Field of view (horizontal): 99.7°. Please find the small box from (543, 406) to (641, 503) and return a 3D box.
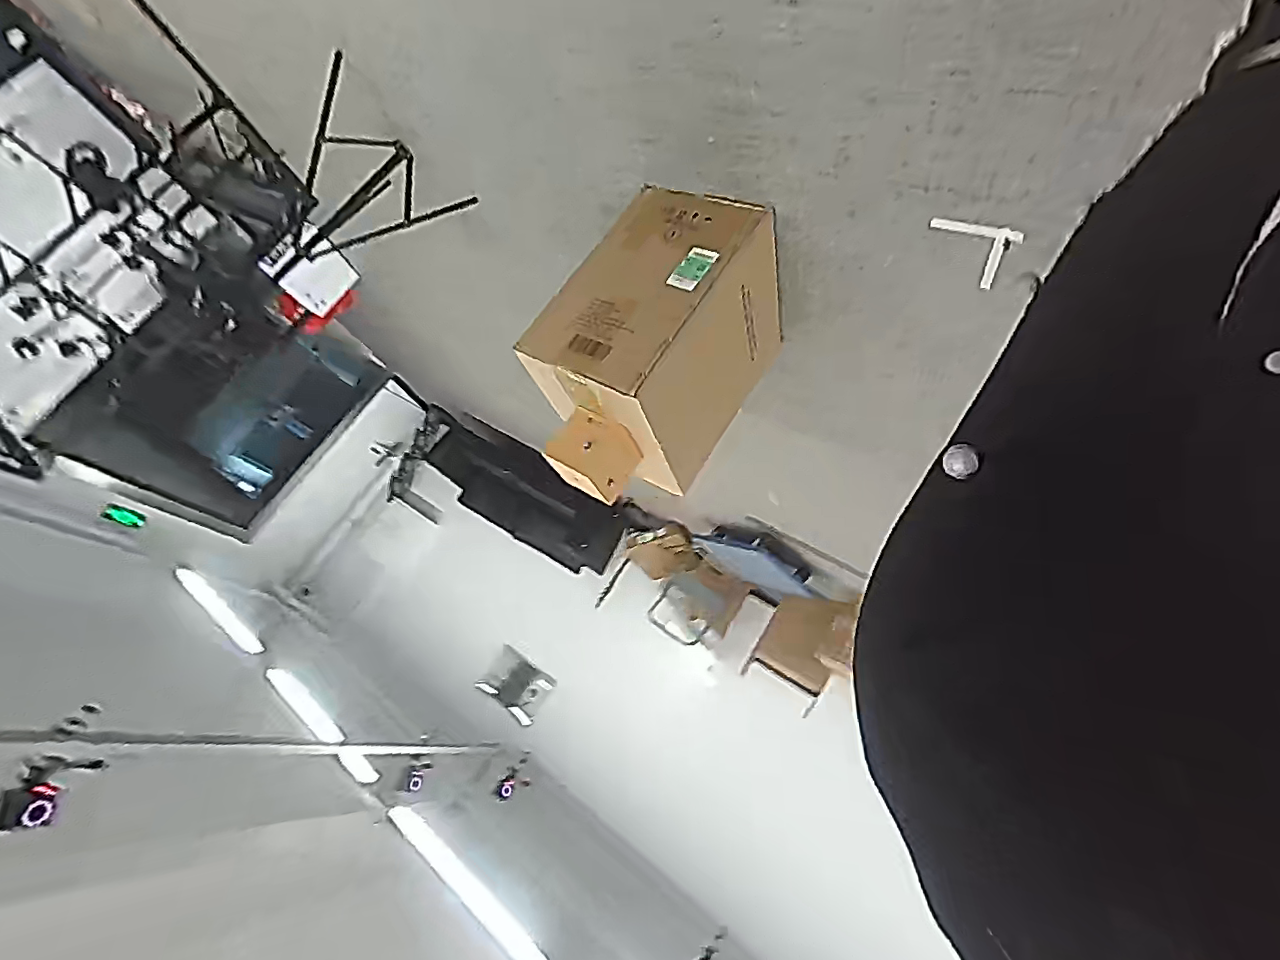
[{"bbox_3d":[-0.122,-0.071,1.447,0.168,0.176,0.179,26,164,27],"label":"small box"}]
